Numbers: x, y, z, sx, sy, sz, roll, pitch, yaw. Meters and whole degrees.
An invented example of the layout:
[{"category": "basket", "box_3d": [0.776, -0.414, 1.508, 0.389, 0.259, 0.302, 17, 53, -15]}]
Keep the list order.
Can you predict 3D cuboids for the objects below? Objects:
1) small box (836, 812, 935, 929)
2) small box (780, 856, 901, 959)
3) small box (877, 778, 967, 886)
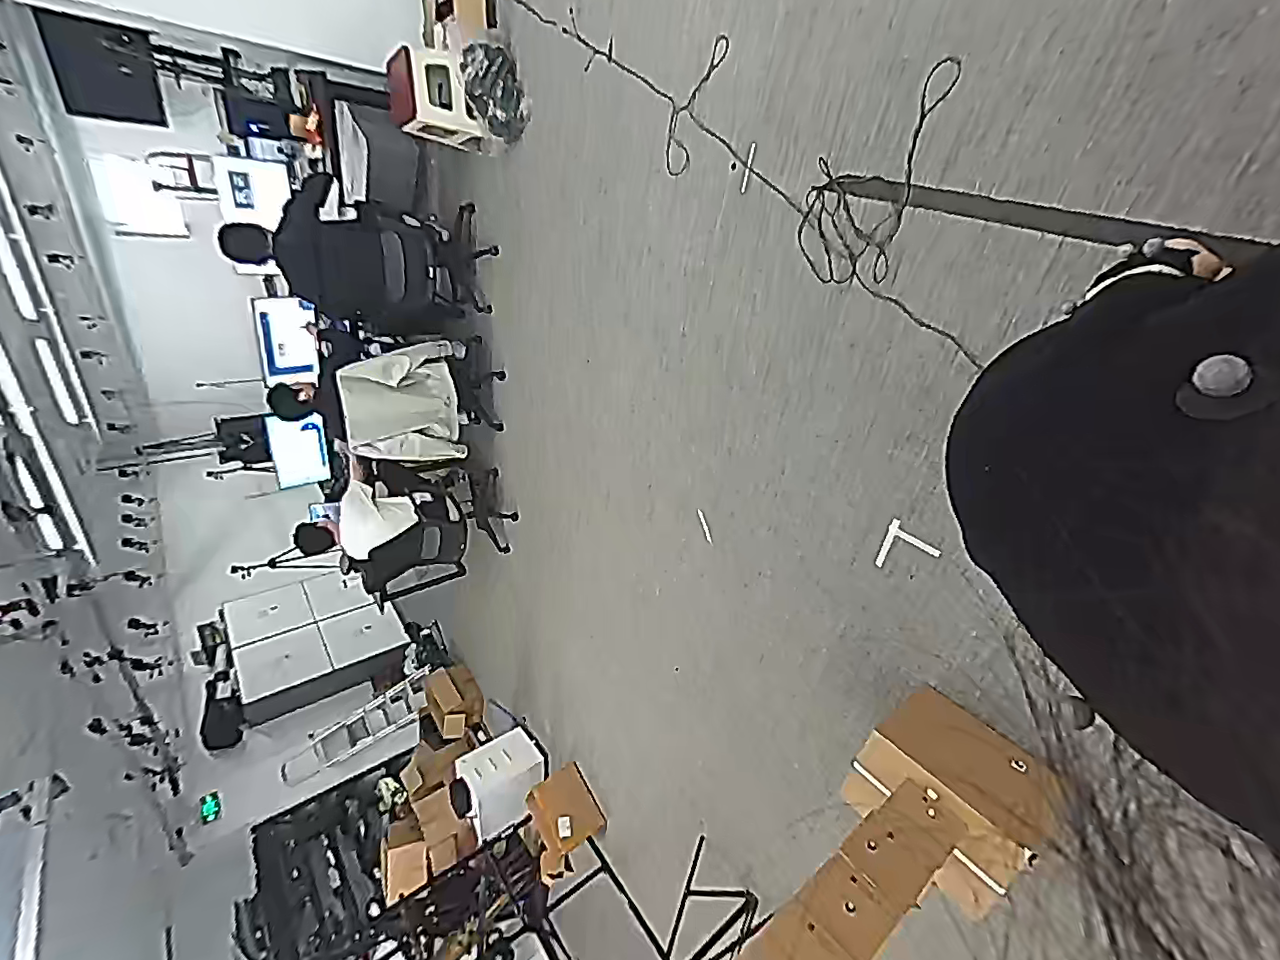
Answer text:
[{"category": "small box", "box_3d": [0.560, 0.933, 1.268, 0.168, 0.176, 0.179, 34, 128, 42]}, {"category": "small box", "box_3d": [0.434, 0.972, 1.169, 0.168, 0.176, 0.179, 30, 124, 45]}, {"category": "small box", "box_3d": [0.687, 0.906, 1.365, 0.168, 0.176, 0.179, 35, 127, 40]}]
